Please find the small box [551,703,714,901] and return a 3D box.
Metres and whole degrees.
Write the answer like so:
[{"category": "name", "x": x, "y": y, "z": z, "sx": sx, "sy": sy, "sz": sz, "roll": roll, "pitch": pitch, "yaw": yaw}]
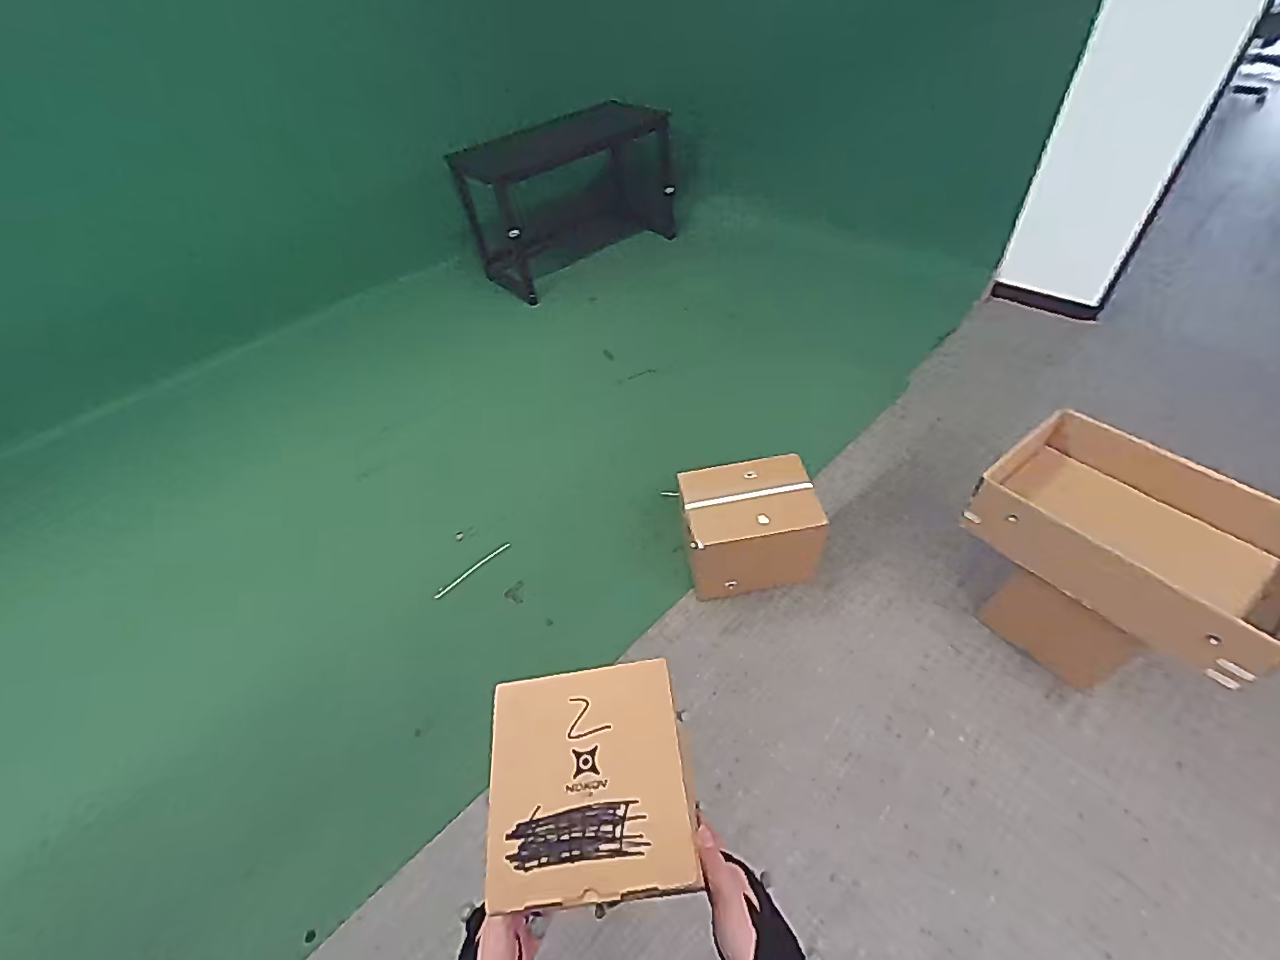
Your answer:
[{"category": "small box", "x": -0.005, "y": 0.388, "z": 0.650, "sx": 0.168, "sy": 0.176, "sz": 0.179, "roll": -8, "pitch": 51, "yaw": 3}]
